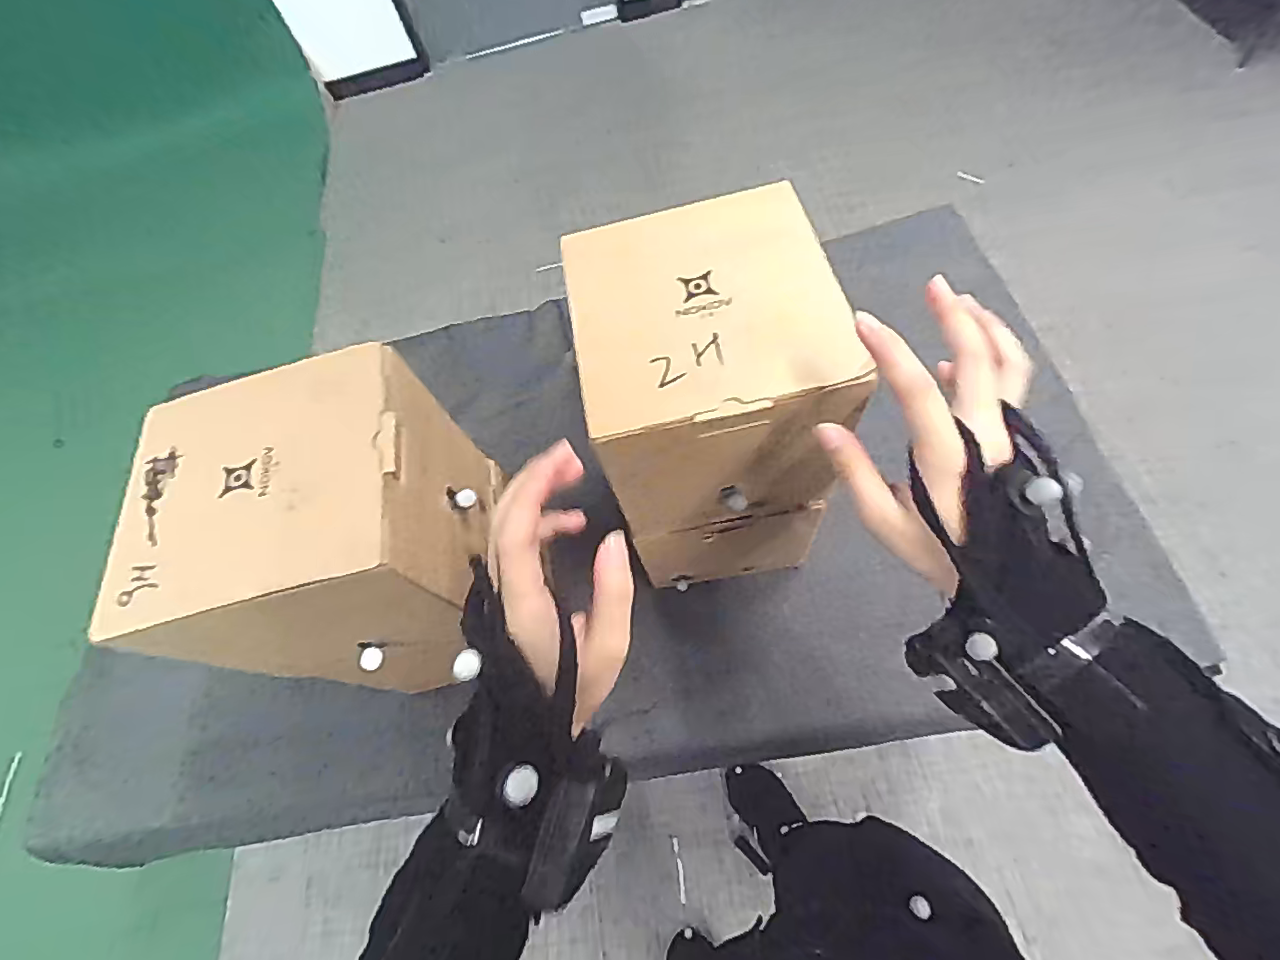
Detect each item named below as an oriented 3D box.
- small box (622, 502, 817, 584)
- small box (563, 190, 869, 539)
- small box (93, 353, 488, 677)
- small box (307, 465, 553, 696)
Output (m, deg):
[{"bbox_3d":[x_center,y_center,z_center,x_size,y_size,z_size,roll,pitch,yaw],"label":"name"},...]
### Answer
[{"bbox_3d":[0.071,0.000,0.558,0.168,0.176,0.179,-10,62,4],"label":"small box"},{"bbox_3d":[0.047,-0.076,0.413,0.168,0.176,0.179,-12,62,4],"label":"small box"},{"bbox_3d":[-0.224,0.038,0.405,0.179,0.176,0.168,-14,62,2],"label":"small box"},{"bbox_3d":[-0.195,0.111,0.550,0.179,0.176,0.168,-15,61,3],"label":"small box"}]
